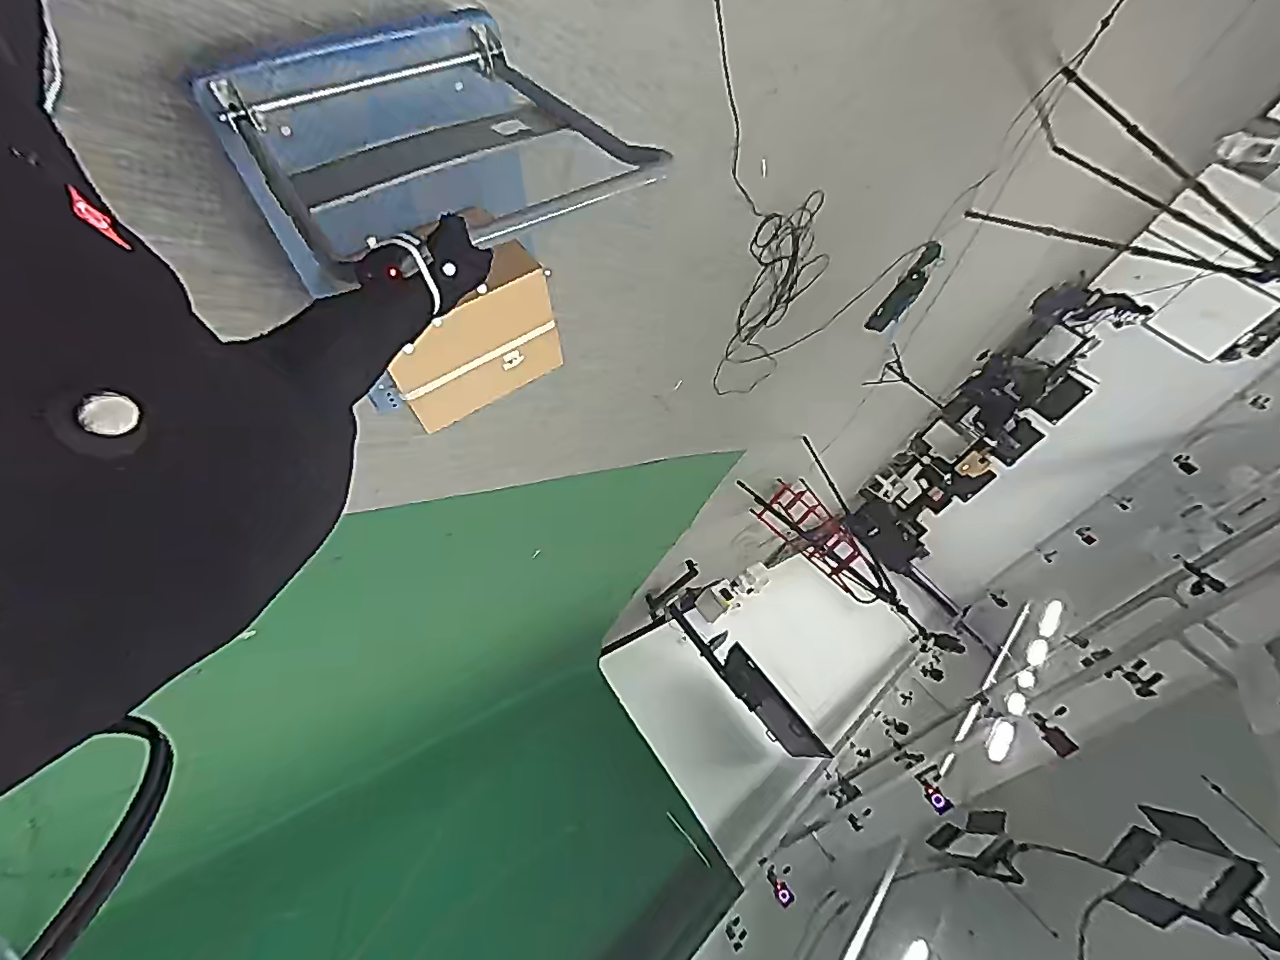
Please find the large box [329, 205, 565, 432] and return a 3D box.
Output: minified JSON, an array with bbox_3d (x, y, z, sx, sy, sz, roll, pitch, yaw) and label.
[{"bbox_3d":[-0.458,-0.400,1.342,0.408,0.320,0.320,-34,155,-16],"label":"large box"}]
